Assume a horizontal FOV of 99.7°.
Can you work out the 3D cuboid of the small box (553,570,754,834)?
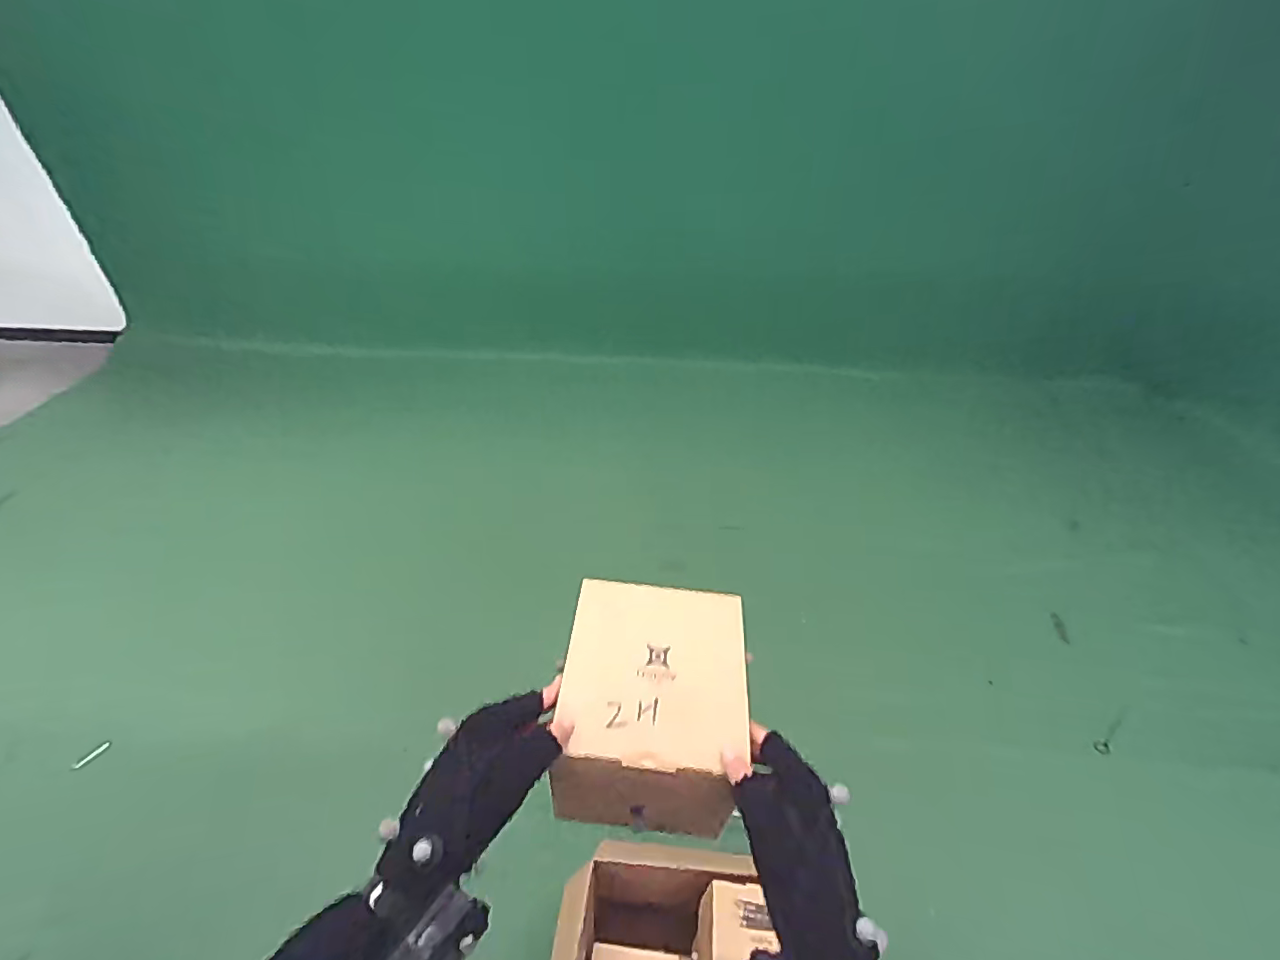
[{"bbox_3d":[0.013,0.219,0.542,0.168,0.176,0.179,6,40,2],"label":"small box"}]
